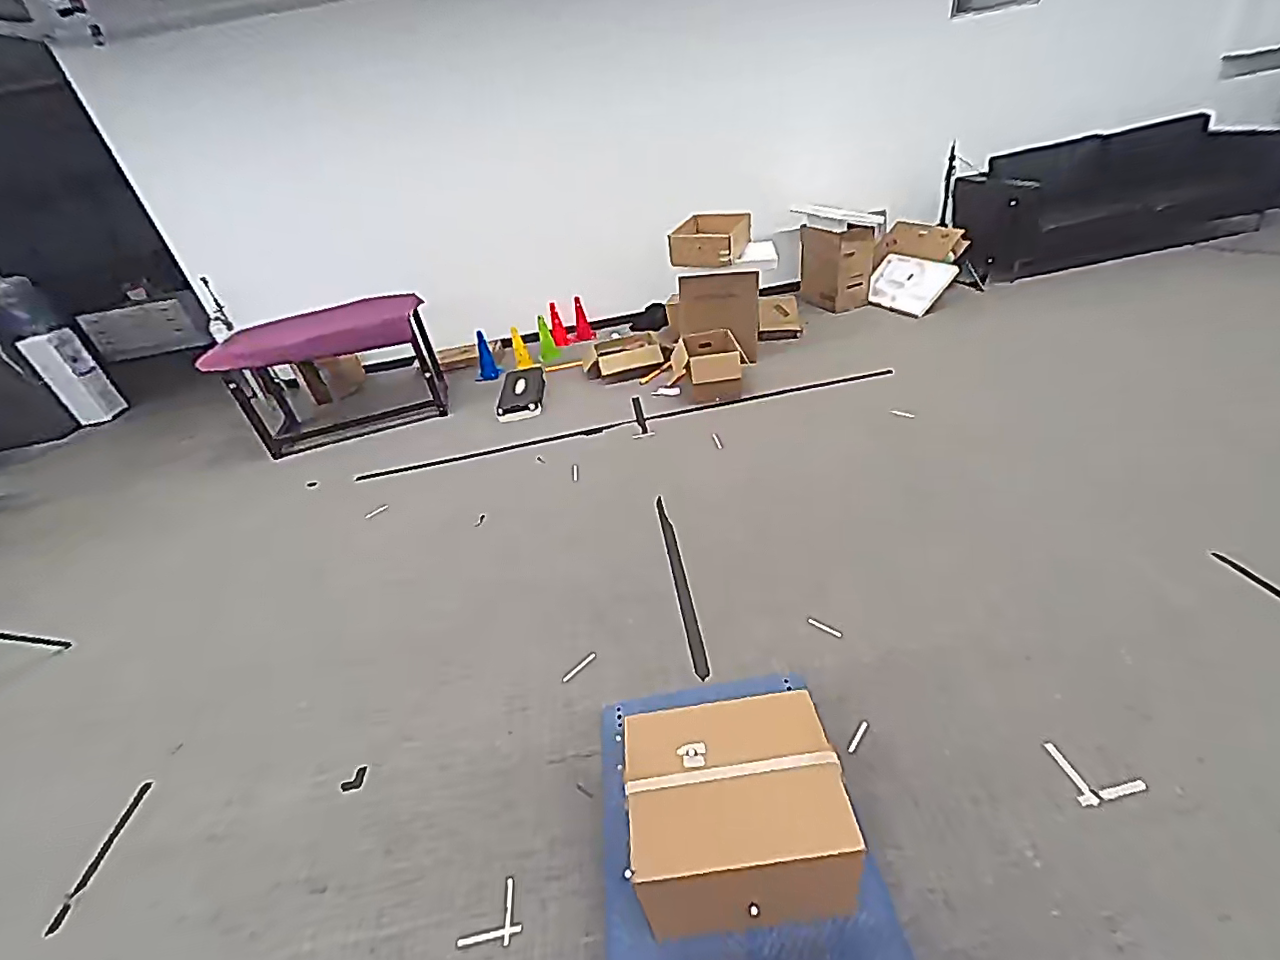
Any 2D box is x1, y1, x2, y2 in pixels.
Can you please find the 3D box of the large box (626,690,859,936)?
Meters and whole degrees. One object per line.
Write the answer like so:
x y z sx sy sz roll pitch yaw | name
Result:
0.202 0.701 1.146 0.408 0.320 0.320 -10 33 2 | large box
